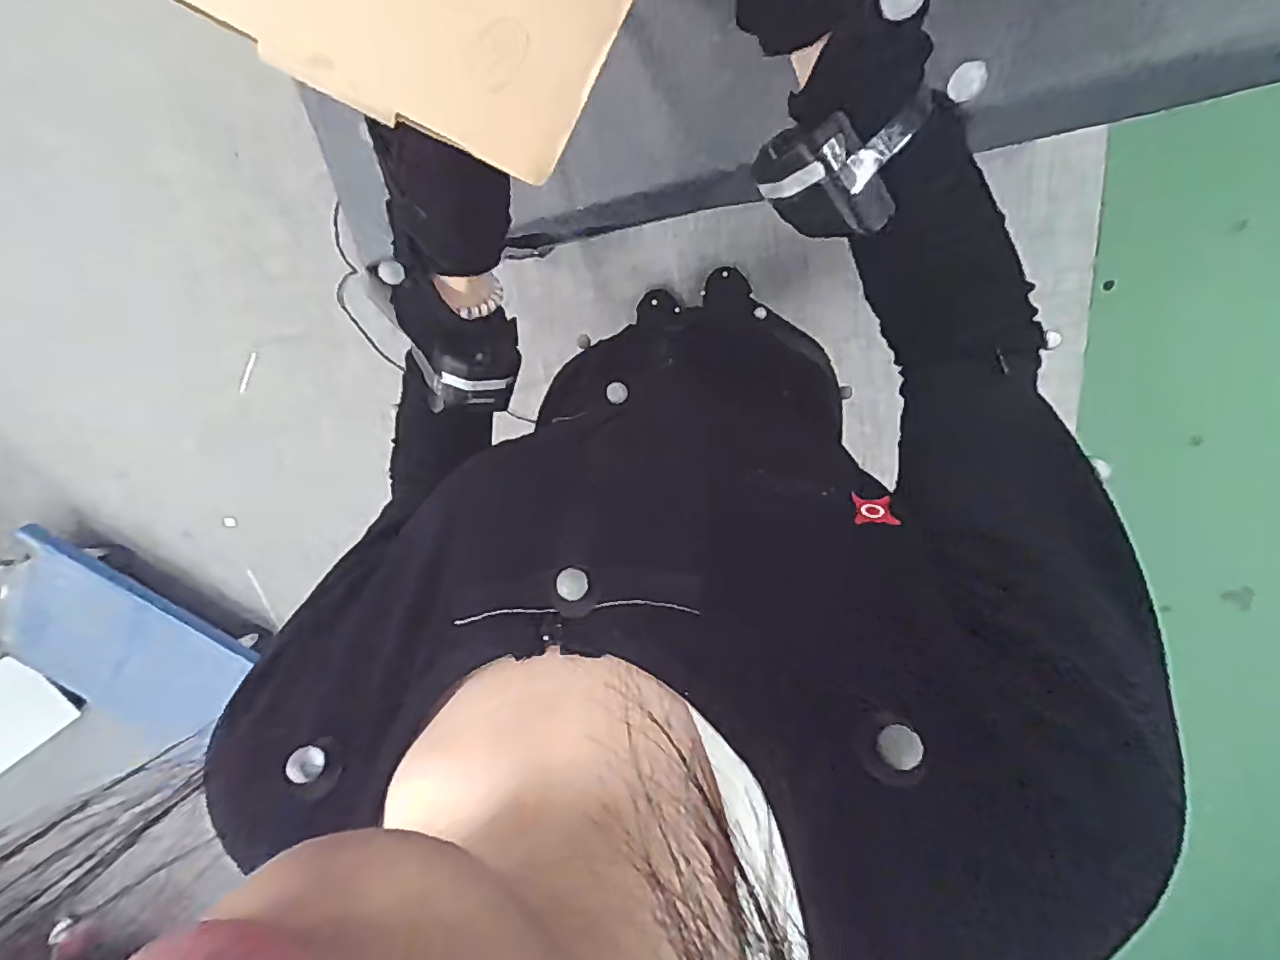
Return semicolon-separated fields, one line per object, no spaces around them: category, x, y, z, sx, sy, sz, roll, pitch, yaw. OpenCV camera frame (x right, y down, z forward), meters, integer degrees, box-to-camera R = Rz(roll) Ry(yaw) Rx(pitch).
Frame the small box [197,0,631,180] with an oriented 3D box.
small box;-0.071;-0.257;0.180;0.168;0.176;0.179;14;143;-30
